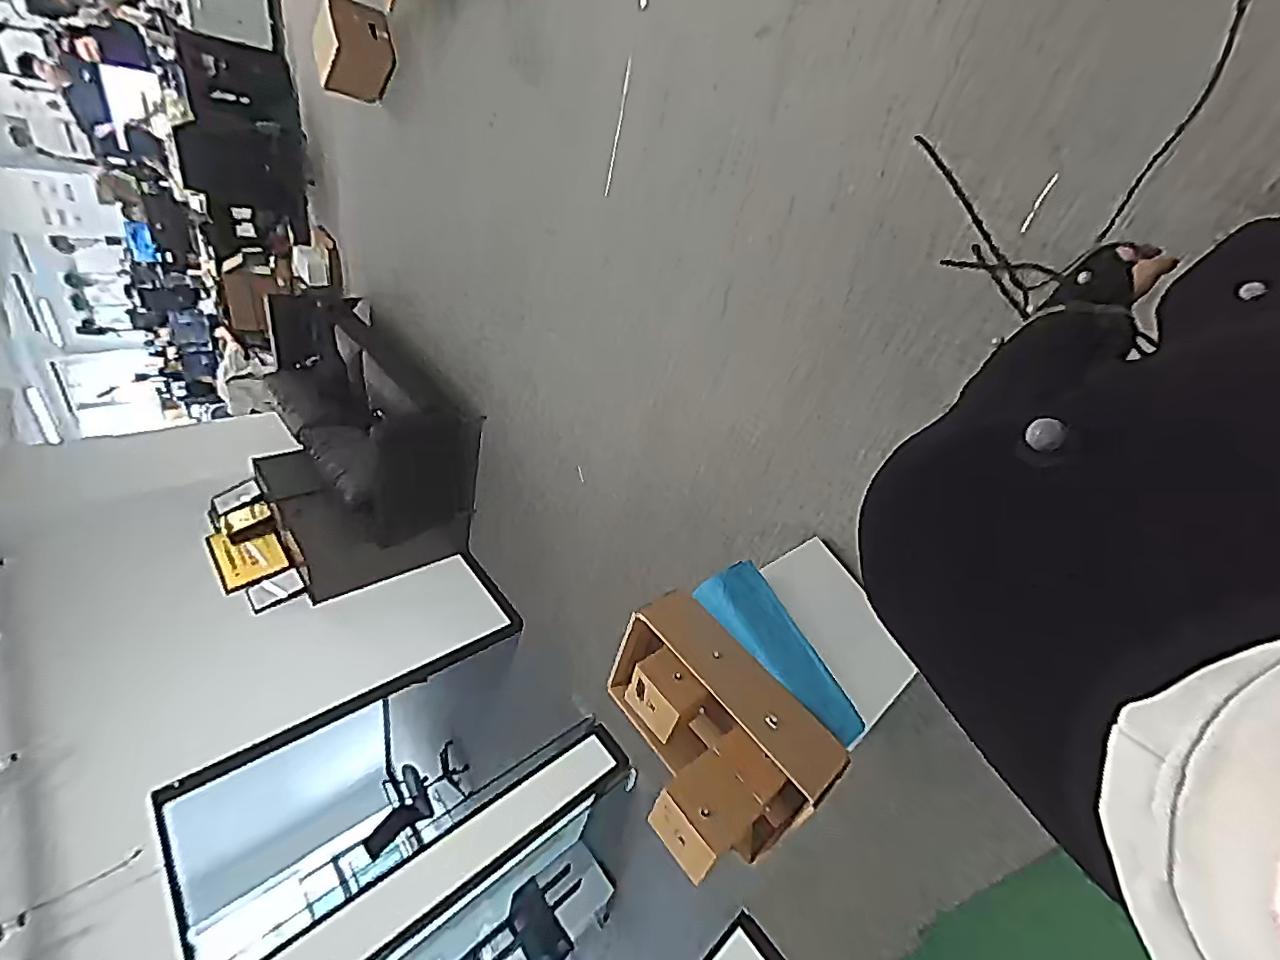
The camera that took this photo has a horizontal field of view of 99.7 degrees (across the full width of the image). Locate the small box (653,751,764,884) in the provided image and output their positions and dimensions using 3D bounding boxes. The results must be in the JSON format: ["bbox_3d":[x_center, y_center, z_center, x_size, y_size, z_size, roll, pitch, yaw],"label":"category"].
[{"bbox_3d":[0.162,0.788,1.278,0.179,0.176,0.168,41,132,33],"label":"small box"}]
